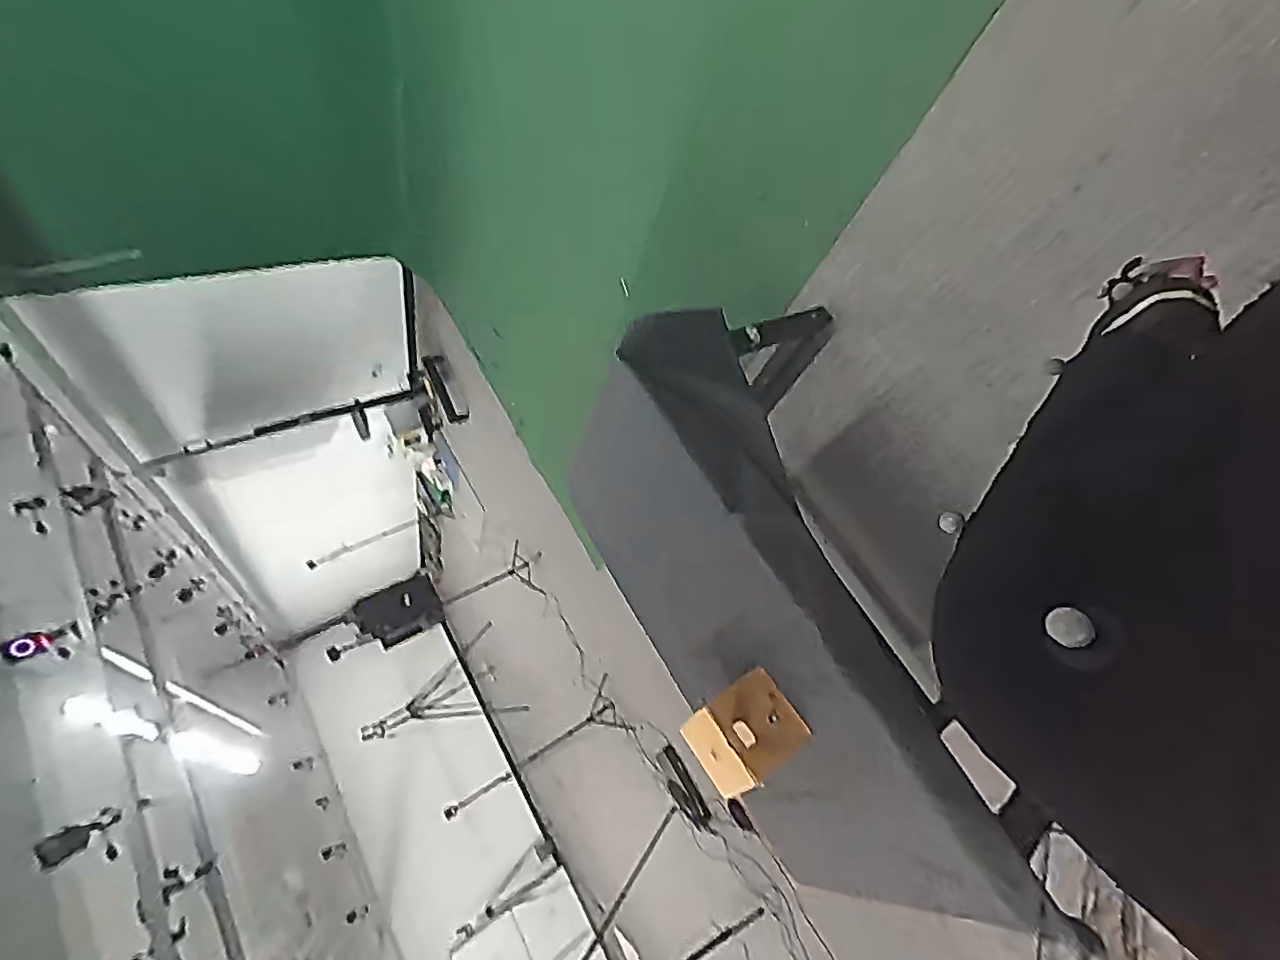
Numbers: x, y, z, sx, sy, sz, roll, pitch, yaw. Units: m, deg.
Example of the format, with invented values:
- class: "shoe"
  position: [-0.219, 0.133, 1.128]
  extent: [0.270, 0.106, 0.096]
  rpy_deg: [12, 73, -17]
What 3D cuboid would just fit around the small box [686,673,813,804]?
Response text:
- class: "small box"
  position: [0.230, 0.541, 1.136]
  extent: [0.168, 0.176, 0.179]
  rpy_deg: [52, 146, 25]
